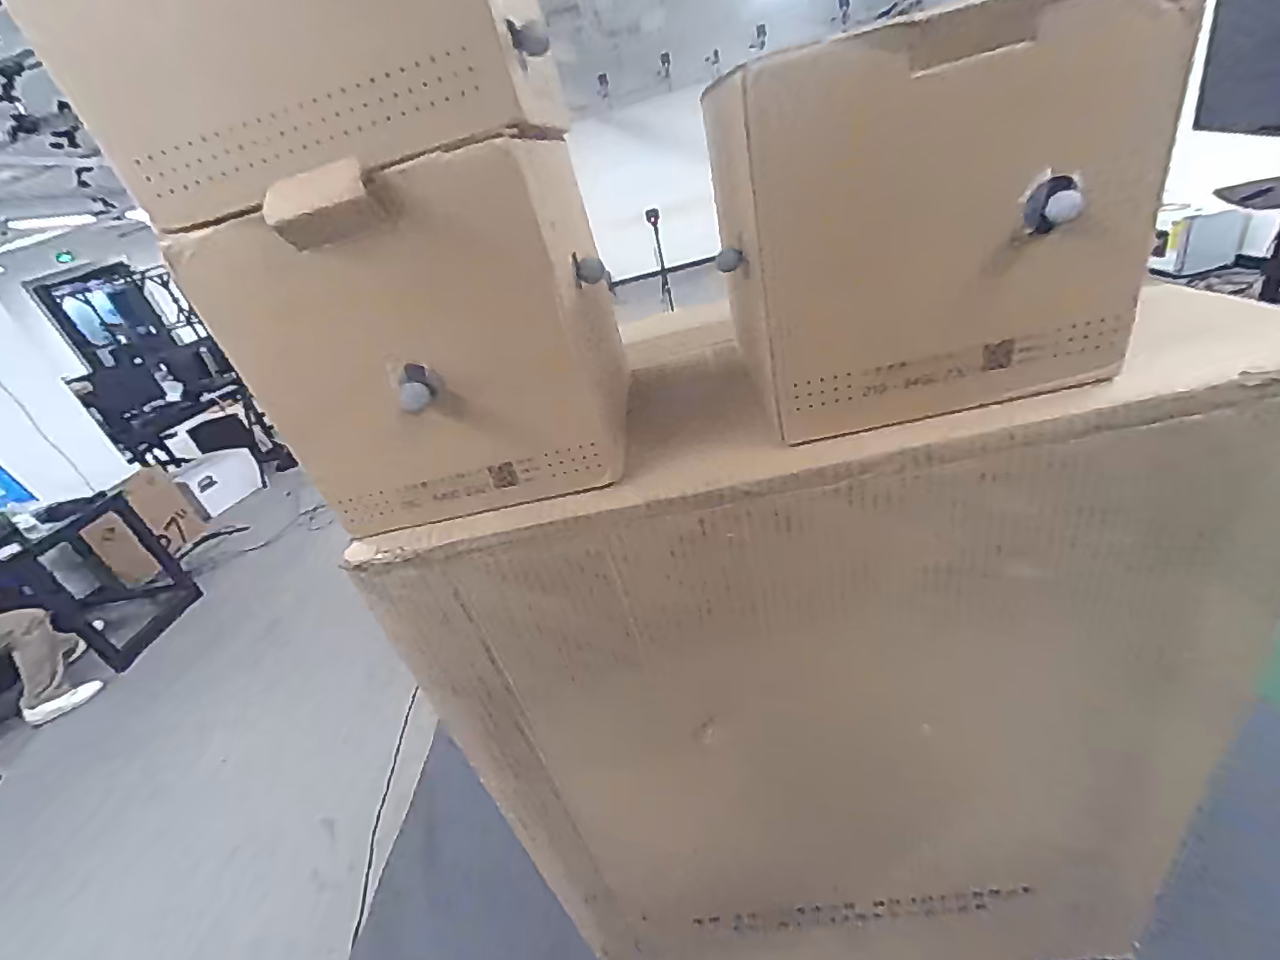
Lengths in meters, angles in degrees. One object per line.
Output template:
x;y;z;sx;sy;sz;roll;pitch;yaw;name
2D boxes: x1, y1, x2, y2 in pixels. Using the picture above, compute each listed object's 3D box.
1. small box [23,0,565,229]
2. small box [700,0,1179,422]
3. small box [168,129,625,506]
-0.148;-0.237;0.258;0.179;0.176;0.168;-12;31;9;small box
0.132;-0.142;0.305;0.168;0.176;0.179;-9;30;7;small box
-0.109;-0.097;0.337;0.168;0.176;0.179;-11;32;8;small box
